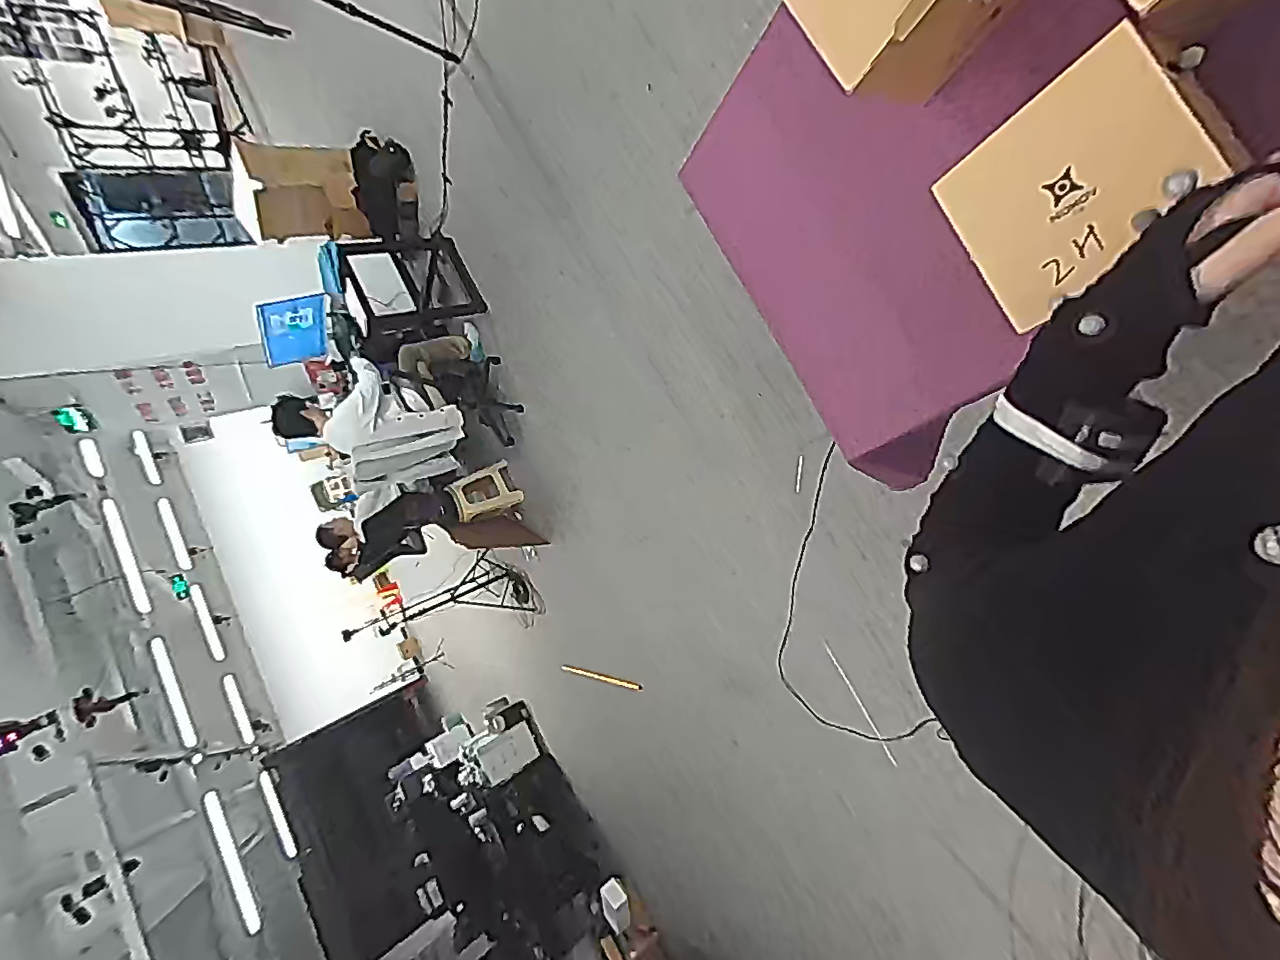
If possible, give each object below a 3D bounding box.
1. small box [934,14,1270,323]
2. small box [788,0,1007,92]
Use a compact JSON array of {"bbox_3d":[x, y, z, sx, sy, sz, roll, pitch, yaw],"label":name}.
[{"bbox_3d":[0.428,-0.276,0.510,0.168,0.176,0.179,-36,79,57],"label":"small box"},{"bbox_3d":[0.280,-0.546,0.566,0.179,0.176,0.168,62,145,8],"label":"small box"}]
